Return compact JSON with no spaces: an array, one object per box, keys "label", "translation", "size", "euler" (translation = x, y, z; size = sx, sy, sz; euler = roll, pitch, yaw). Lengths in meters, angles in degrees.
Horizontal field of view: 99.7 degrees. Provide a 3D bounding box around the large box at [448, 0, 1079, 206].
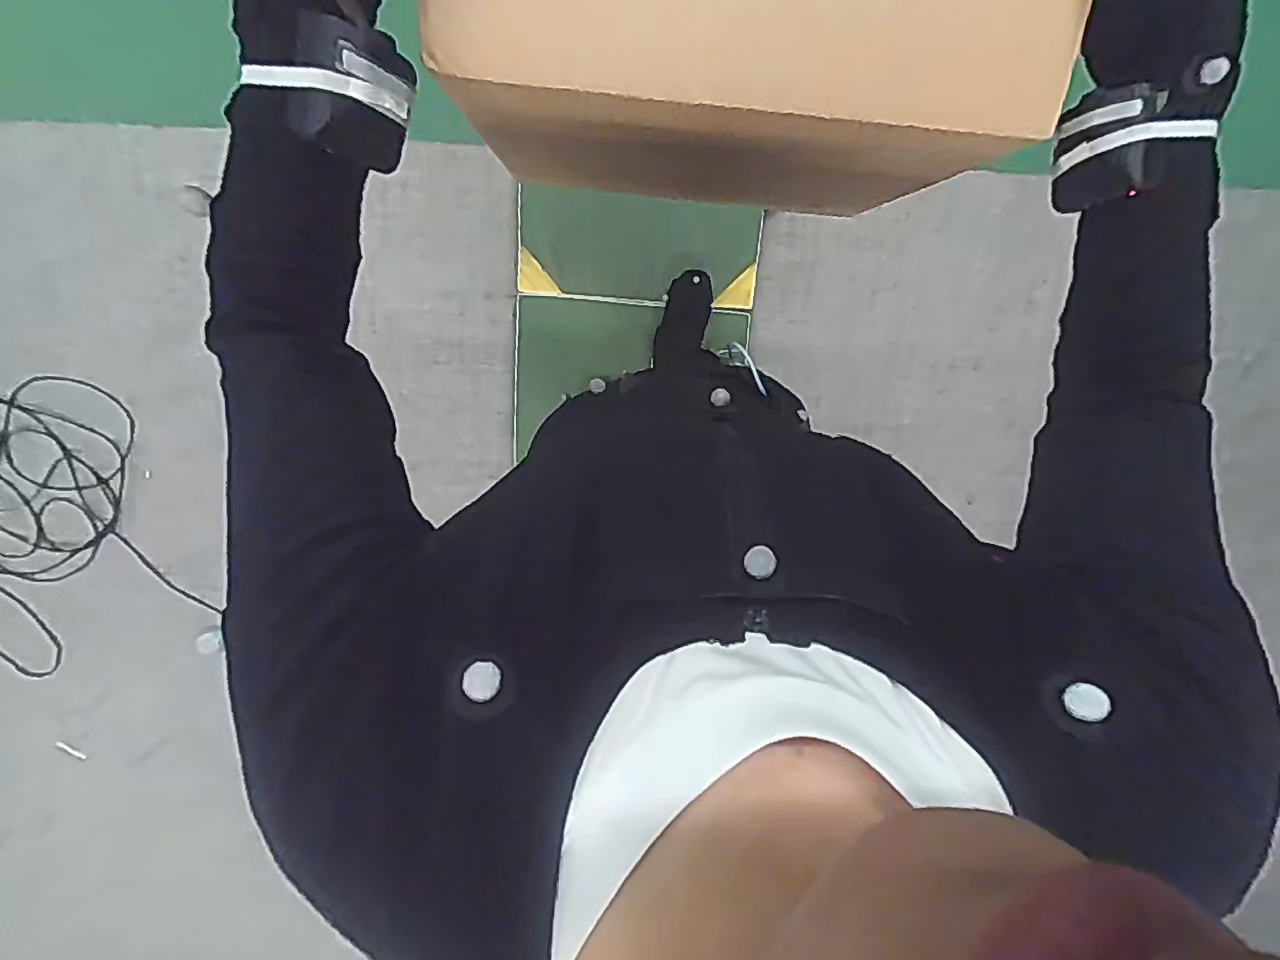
[{"label":"large box","translation":[0.077,-0.436,0.449],"size":[0.408,0.320,0.320],"euler":[3,108,-4]}]
